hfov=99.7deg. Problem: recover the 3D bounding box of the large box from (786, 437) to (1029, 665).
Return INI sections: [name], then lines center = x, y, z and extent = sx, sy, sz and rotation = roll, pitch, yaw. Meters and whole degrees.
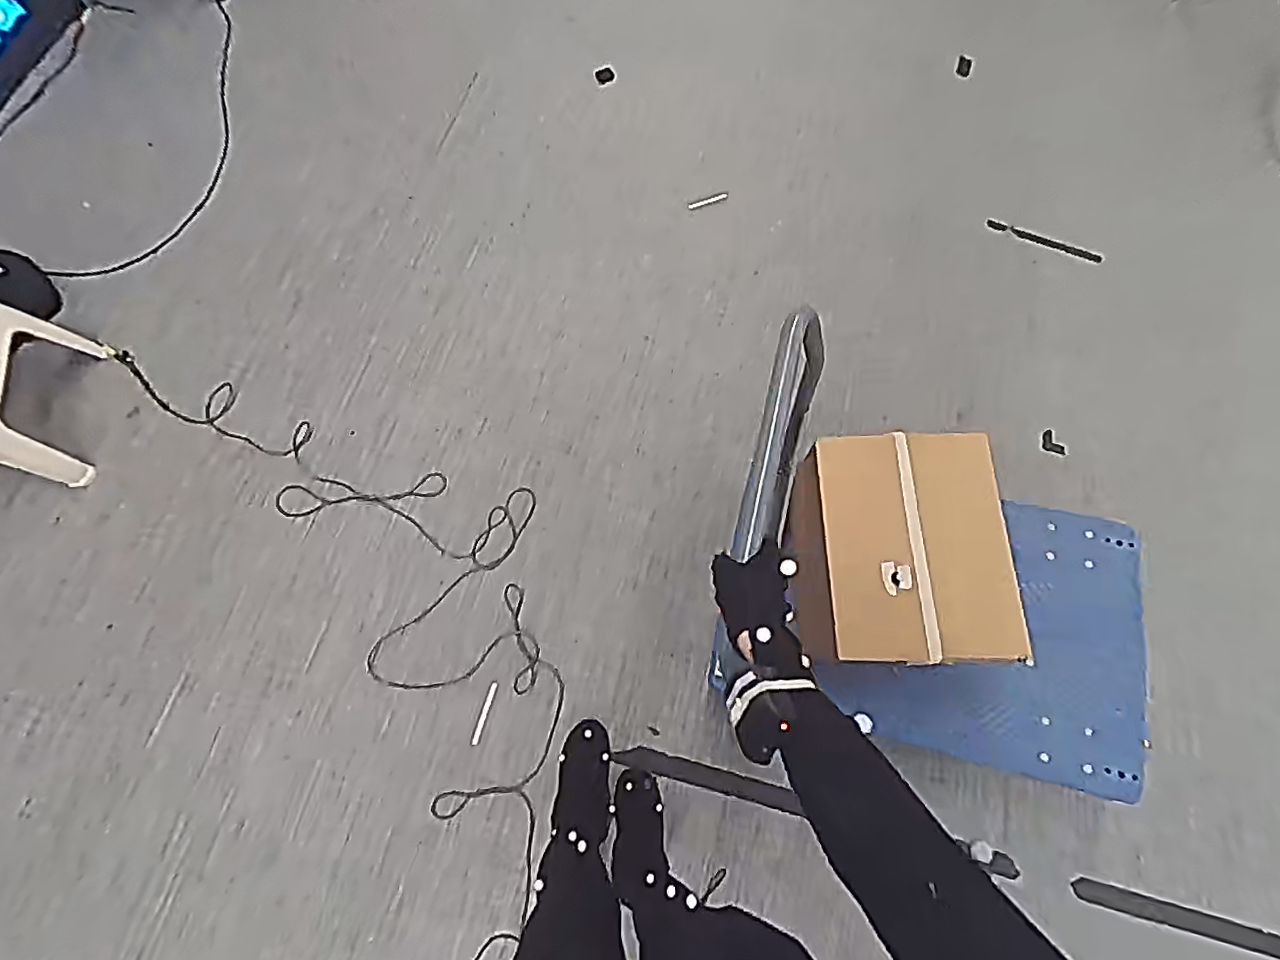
[large box]
center = 0.494, 0.158, 1.097
extent = 0.320, 0.320, 0.408
rotation = -2, 72, 5
